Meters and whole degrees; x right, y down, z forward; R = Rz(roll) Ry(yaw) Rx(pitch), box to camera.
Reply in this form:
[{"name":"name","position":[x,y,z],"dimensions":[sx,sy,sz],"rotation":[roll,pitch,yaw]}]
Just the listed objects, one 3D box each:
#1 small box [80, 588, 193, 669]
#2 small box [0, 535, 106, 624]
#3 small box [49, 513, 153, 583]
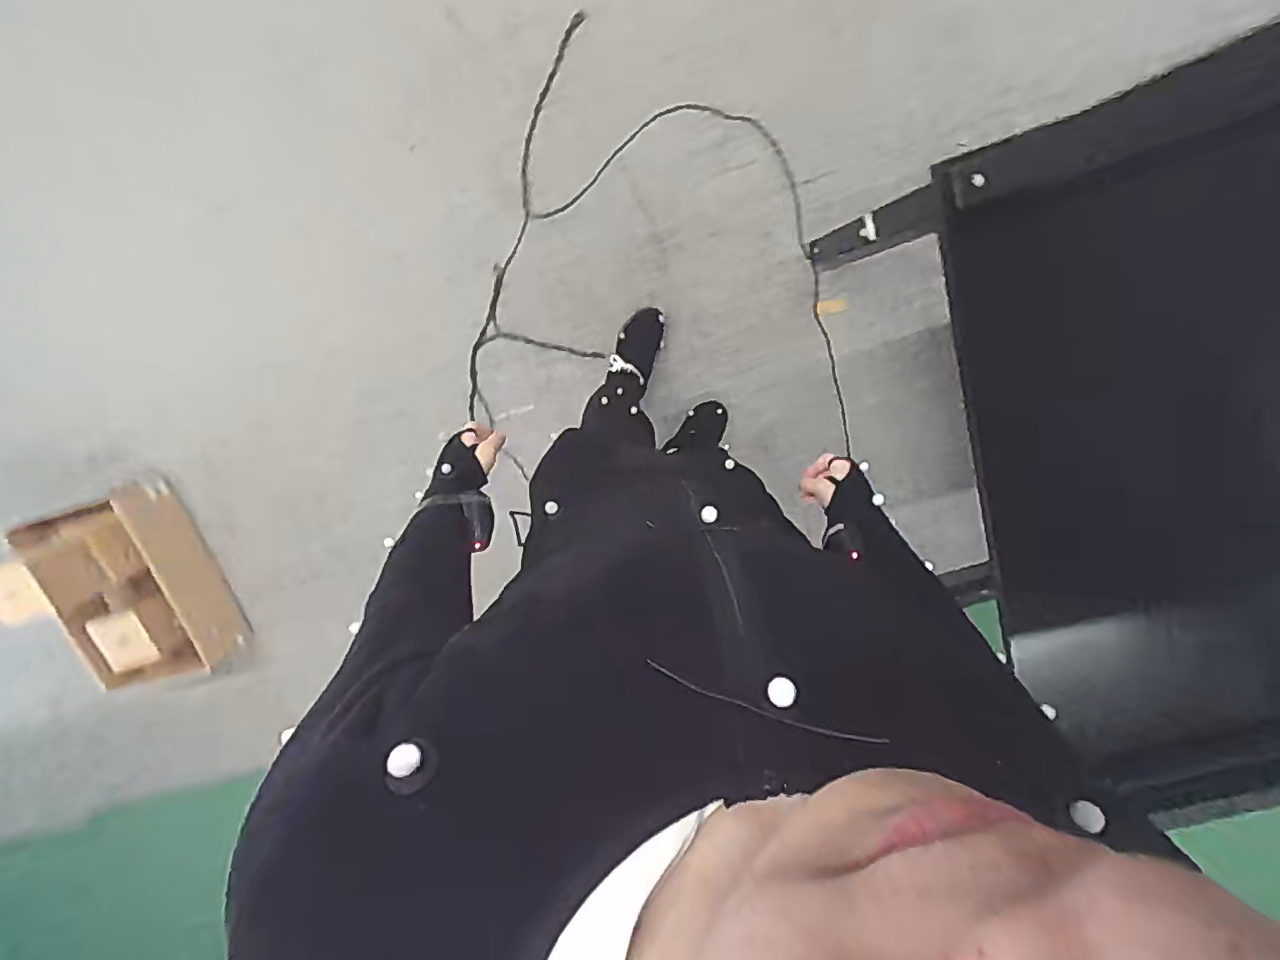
[{"name":"small box","position":[-1.566,0.460,1.699],"dimensions":[0.179,0.176,0.168],"rotation":[-16,105,6]},{"name":"small box","position":[-1.643,0.268,1.476],"dimensions":[0.179,0.176,0.168],"rotation":[-13,108,5]},{"name":"small box","position":[-1.636,0.217,1.631],"dimensions":[0.179,0.176,0.168],"rotation":[-15,106,6]}]
